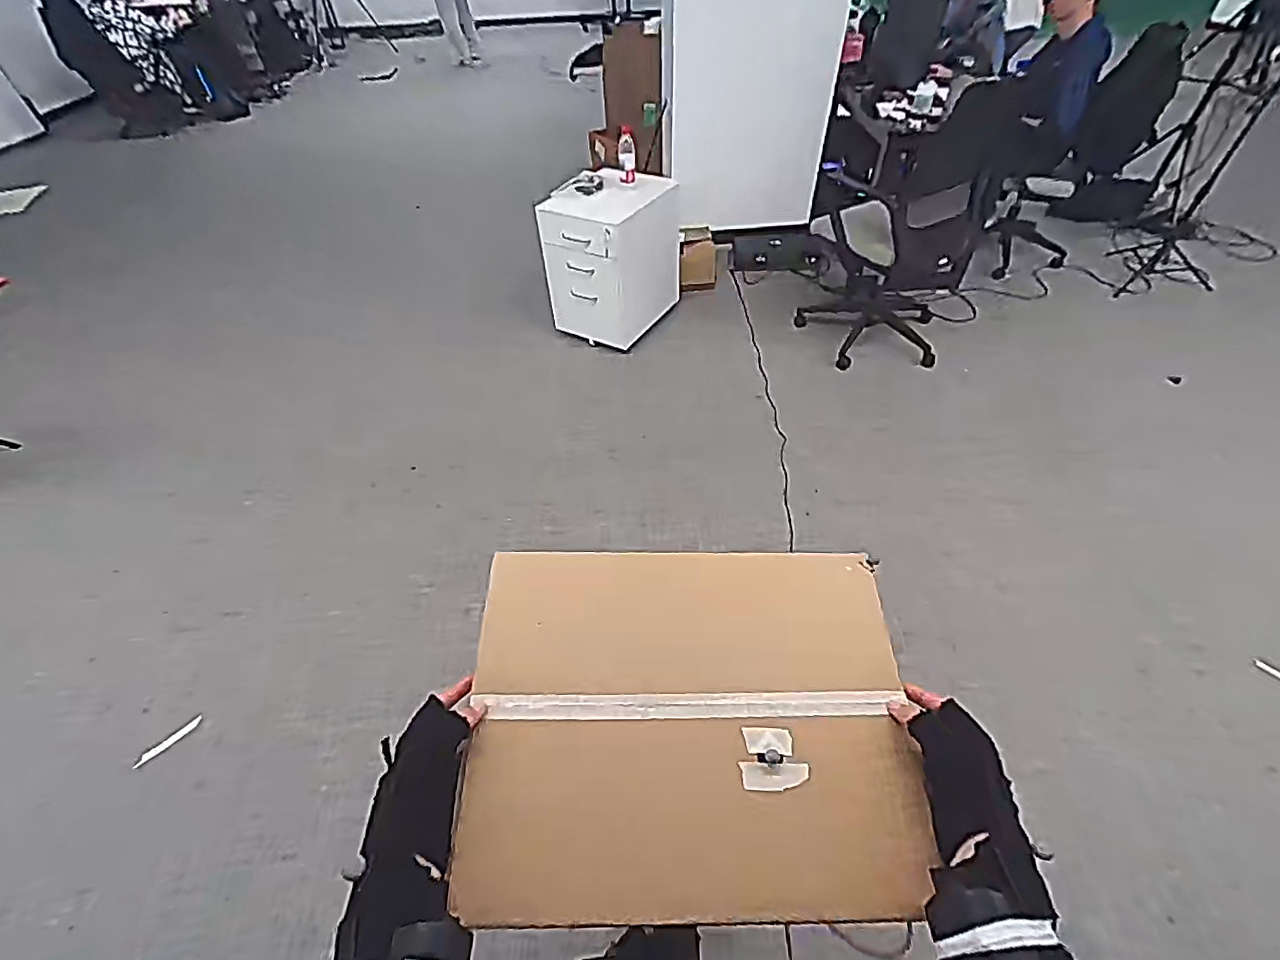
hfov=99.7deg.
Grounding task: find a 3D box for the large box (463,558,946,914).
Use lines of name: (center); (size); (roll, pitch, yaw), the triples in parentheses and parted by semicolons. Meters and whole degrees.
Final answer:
large box: (0.047, 0.299, 0.641); (0.408, 0.320, 0.320); (1, 56, -1)
